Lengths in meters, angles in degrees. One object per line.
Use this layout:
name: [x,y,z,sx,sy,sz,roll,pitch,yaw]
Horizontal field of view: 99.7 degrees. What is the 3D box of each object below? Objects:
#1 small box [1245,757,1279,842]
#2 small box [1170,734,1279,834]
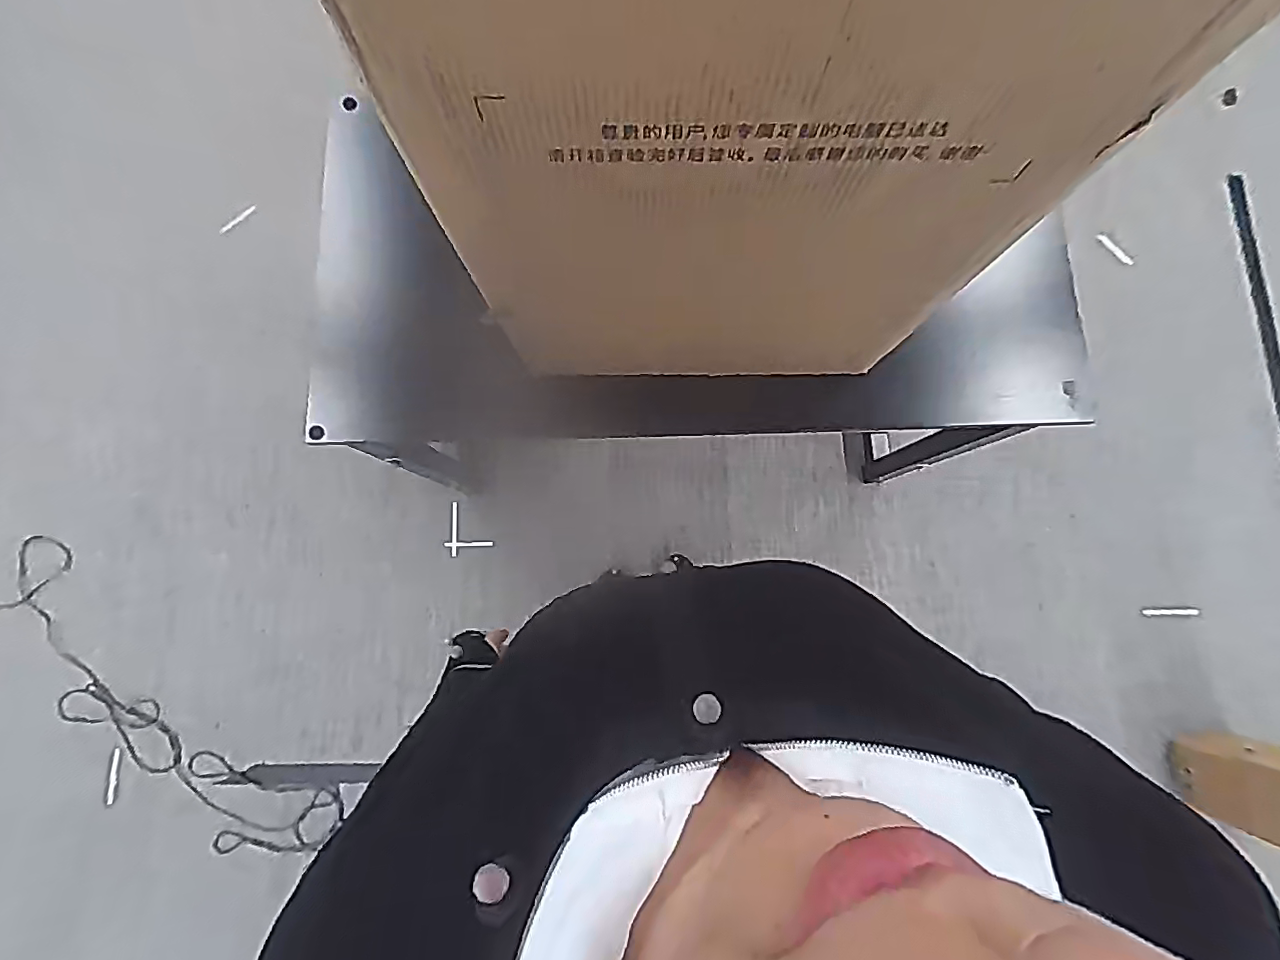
small box: [1.501,0.721,1.184,0.168,0.176,0.179,-2,81,0]
small box: [1.500,0.747,1.347,0.179,0.176,0.168,-6,80,0]
